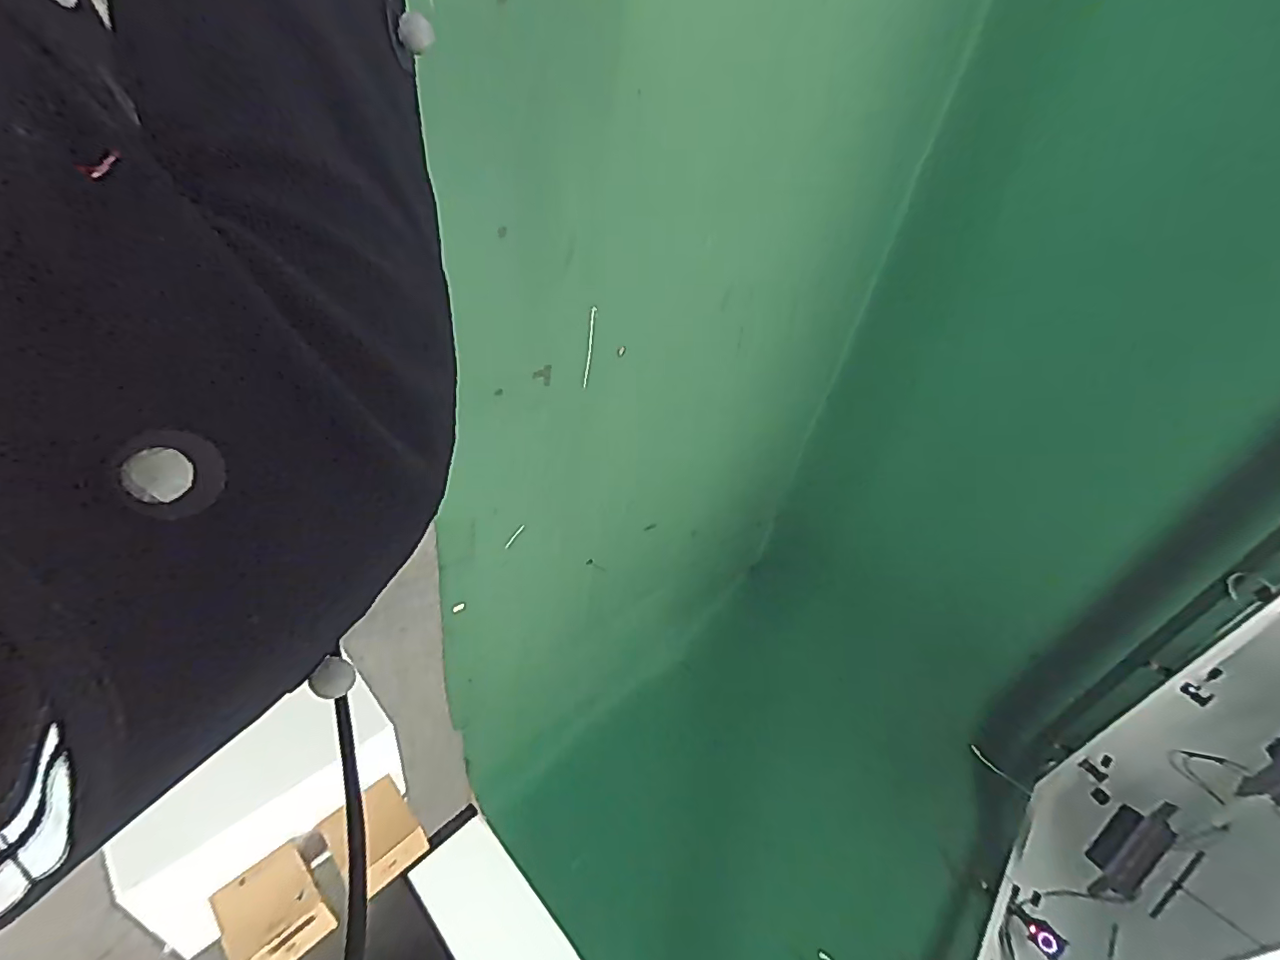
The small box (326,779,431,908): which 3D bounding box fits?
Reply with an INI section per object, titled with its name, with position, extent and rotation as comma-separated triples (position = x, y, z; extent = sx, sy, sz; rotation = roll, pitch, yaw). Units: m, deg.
[small box]
position = -0.647, 0.889, 1.333
extent = 0.179, 0.176, 0.168
rotation = -30, 143, -37
